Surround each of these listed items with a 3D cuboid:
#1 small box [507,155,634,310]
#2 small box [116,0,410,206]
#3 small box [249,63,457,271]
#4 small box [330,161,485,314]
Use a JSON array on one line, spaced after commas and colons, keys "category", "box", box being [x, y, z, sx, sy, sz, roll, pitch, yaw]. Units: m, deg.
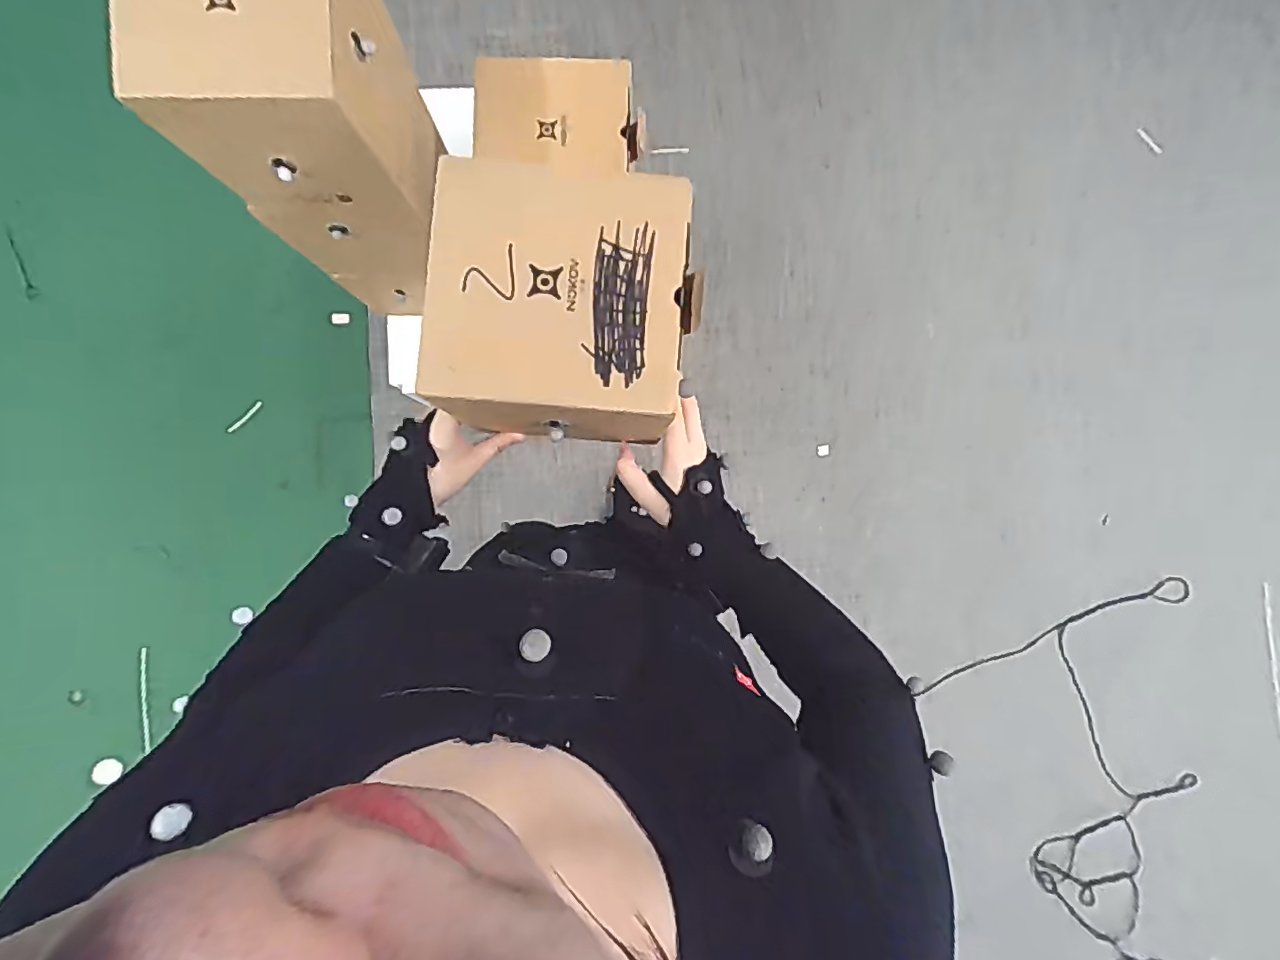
[{"category": "small box", "box": [-0.099, -0.373, 0.839, 0.179, 0.176, 0.168, -3, 88, 0]}, {"category": "small box", "box": [-0.324, -0.376, 0.499, 0.168, 0.176, 0.179, -2, 89, -4]}, {"category": "small box", "box": [-0.338, -0.368, 0.663, 0.179, 0.176, 0.168, -2, 89, -4]}, {"category": "small box", "box": [-0.345, -0.361, 0.828, 0.179, 0.176, 0.168, -2, 90, -4]}]
